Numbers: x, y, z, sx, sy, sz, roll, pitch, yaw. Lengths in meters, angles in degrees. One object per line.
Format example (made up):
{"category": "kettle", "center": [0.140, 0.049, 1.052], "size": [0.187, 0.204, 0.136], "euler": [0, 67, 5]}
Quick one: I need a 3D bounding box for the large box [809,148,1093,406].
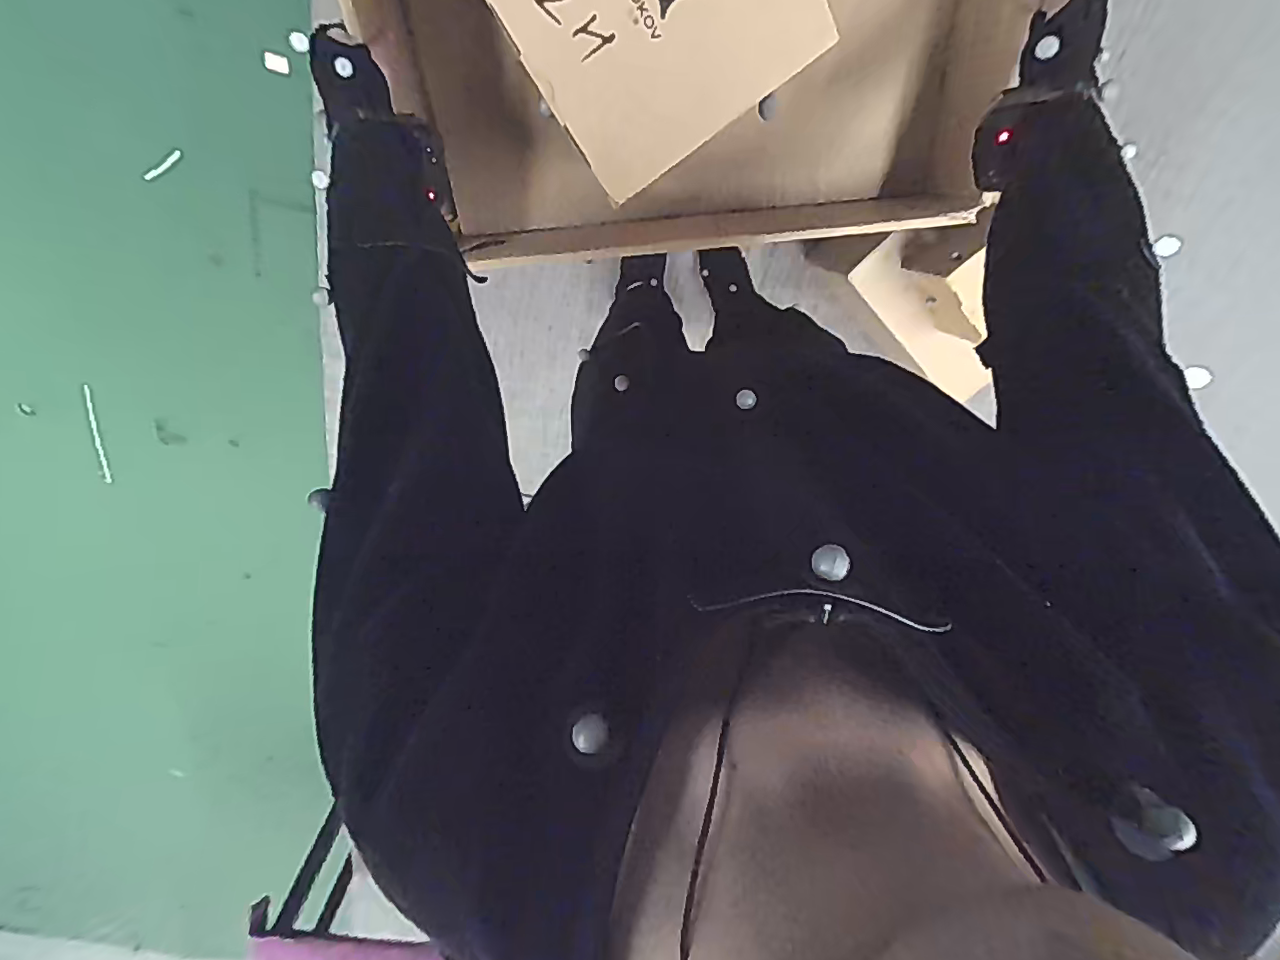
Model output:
{"category": "large box", "center": [0.653, -0.442, 1.194], "size": [0.408, 0.320, 0.320], "euler": [40, 112, -19]}

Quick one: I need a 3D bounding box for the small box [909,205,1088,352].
{"category": "small box", "center": [0.624, -0.362, 0.961], "size": [0.179, 0.176, 0.168], "euler": [-39, 111, 18]}

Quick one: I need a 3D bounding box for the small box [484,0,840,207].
{"category": "small box", "center": [0.006, -0.330, 0.384], "size": [0.179, 0.176, 0.168], "euler": [-30, 118, 17]}
